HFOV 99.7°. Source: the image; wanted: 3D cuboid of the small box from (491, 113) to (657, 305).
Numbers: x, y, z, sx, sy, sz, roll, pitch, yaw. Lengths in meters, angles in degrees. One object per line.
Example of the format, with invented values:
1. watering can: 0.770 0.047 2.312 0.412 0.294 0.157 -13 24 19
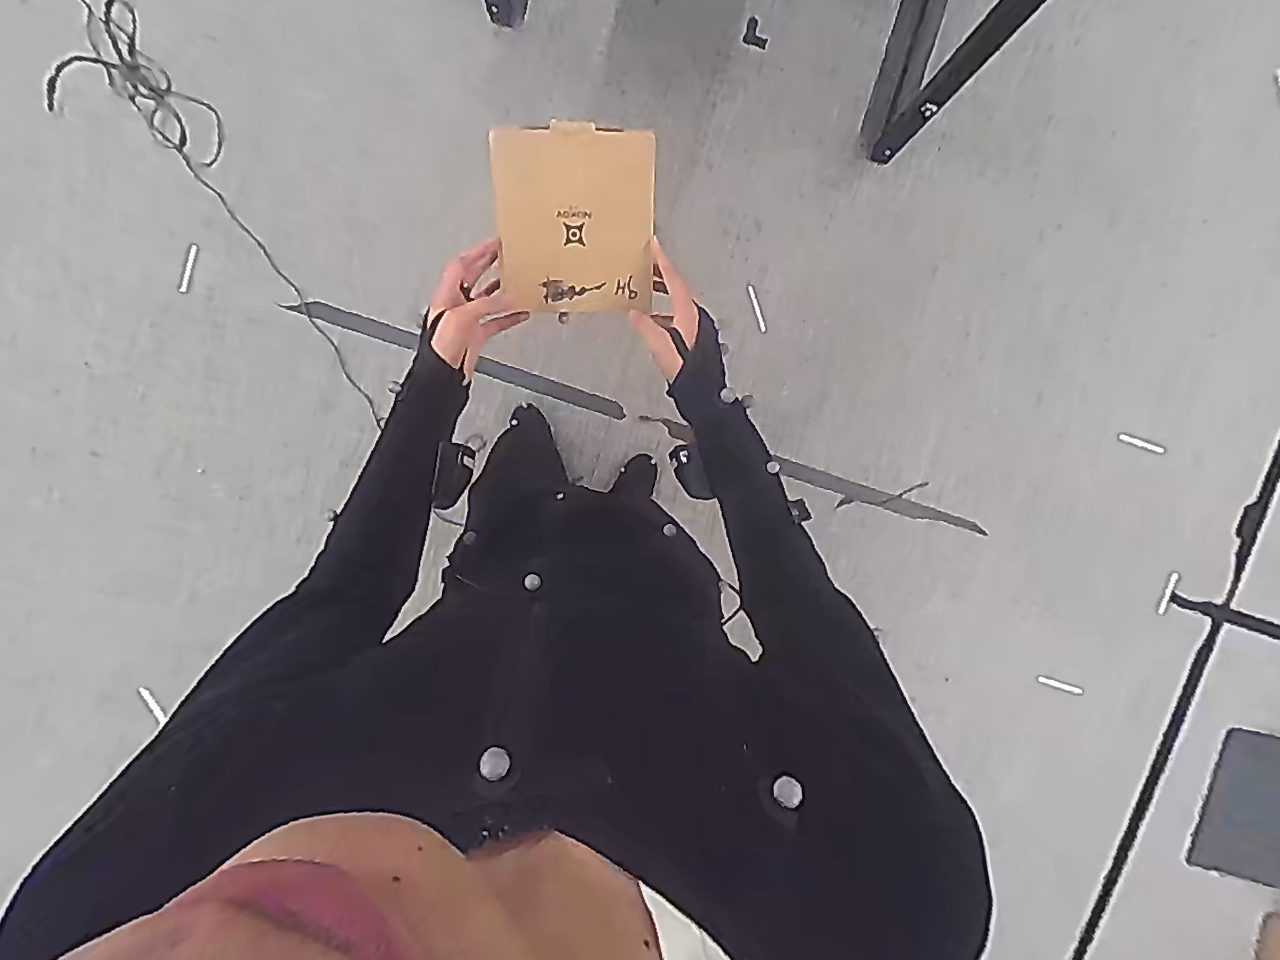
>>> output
1. small box: -0.071 -0.303 0.632 0.168 0.176 0.179 0 113 -2
